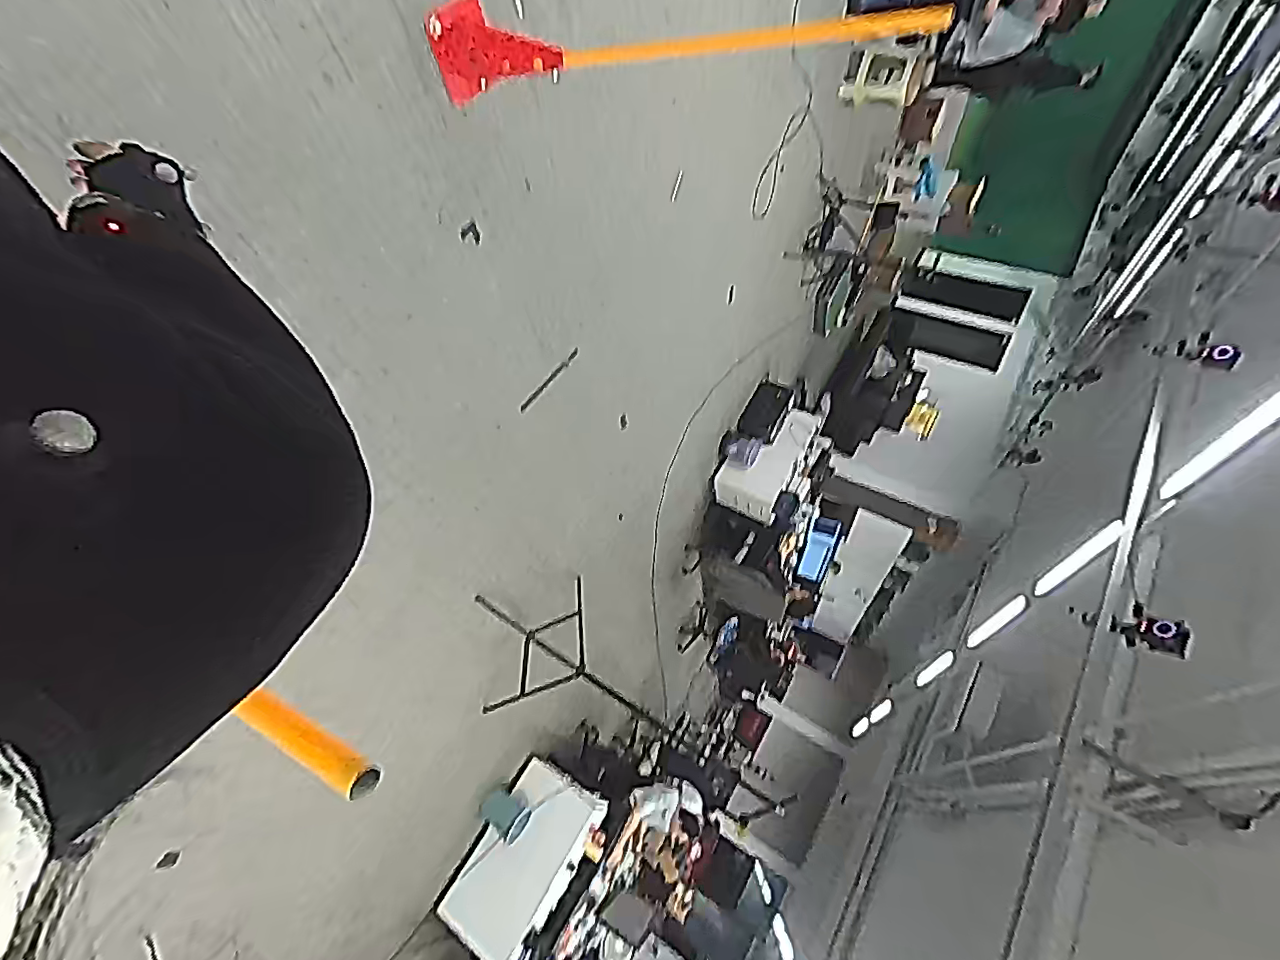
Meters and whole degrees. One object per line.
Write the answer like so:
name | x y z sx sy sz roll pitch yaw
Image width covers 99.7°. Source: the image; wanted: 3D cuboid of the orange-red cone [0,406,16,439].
orange-red cone | -1.076 -0.030 0.821 0.199 0.360 0.198 -52 153 -26
